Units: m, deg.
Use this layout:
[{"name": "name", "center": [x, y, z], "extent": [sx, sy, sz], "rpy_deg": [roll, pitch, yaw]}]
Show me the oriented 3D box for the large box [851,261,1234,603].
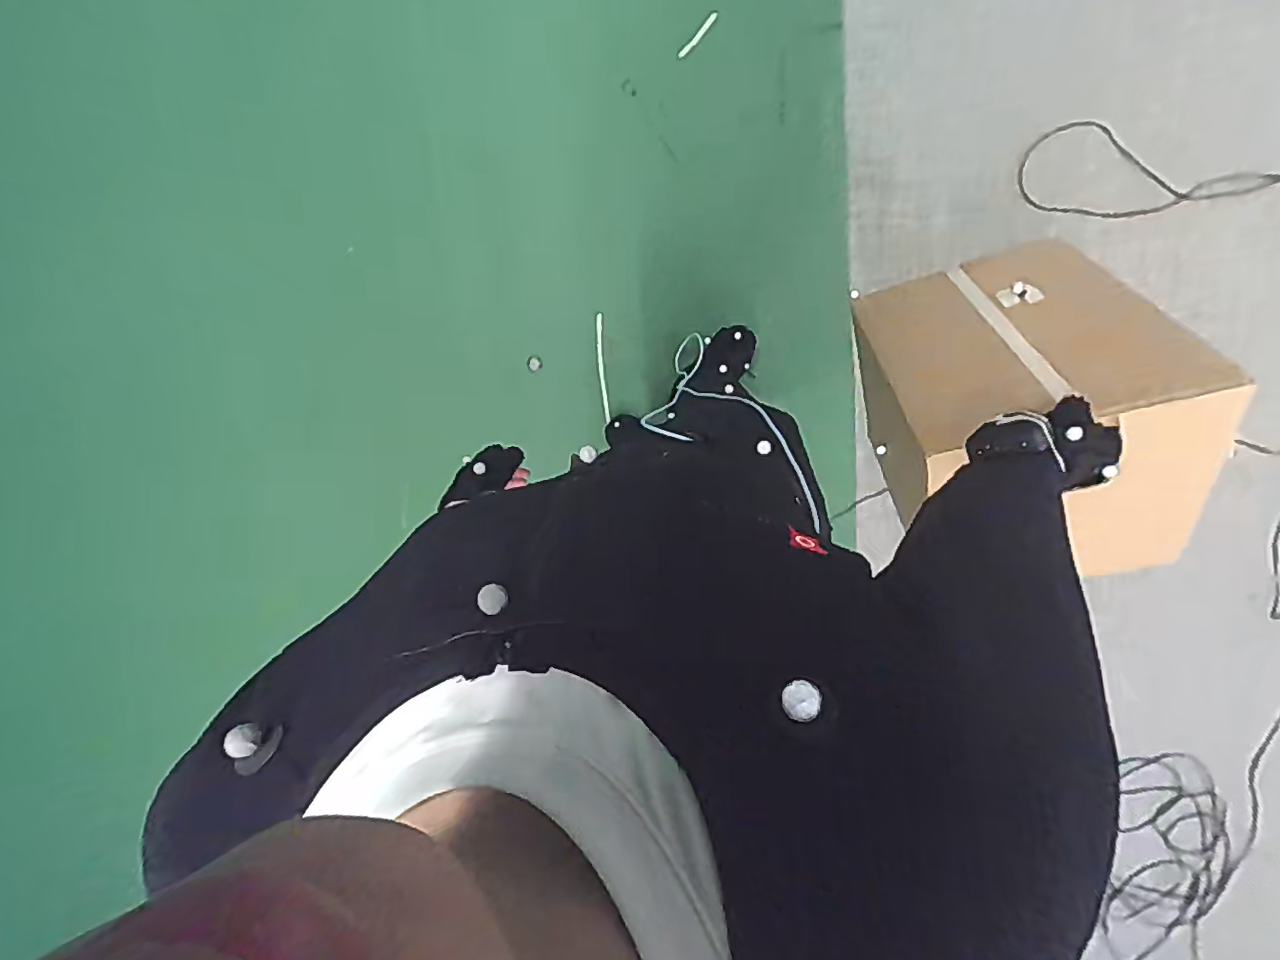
[{"name": "large box", "center": [0.550, -0.076, 0.845], "extent": [0.320, 0.408, 0.320], "rpy_deg": [-12, 130, 16]}]
